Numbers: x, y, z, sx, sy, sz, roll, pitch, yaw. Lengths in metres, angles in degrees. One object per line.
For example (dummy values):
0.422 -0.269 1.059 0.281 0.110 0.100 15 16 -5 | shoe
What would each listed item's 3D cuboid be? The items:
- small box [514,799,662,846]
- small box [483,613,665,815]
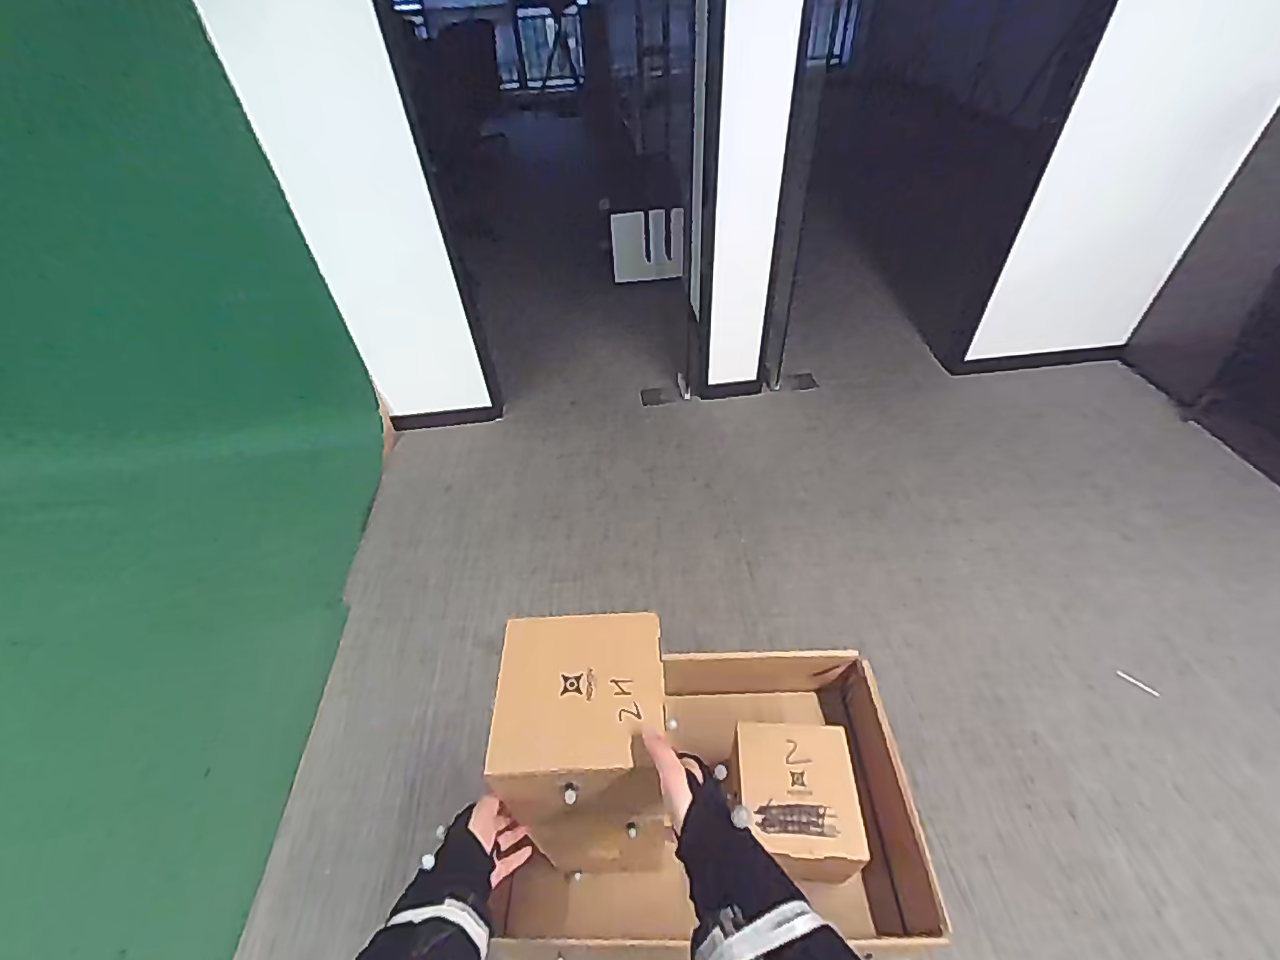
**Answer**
-0.060 0.384 0.737 0.179 0.176 0.168 -1 45 0 | small box
-0.062 0.269 0.618 0.179 0.176 0.168 -1 45 -1 | small box
